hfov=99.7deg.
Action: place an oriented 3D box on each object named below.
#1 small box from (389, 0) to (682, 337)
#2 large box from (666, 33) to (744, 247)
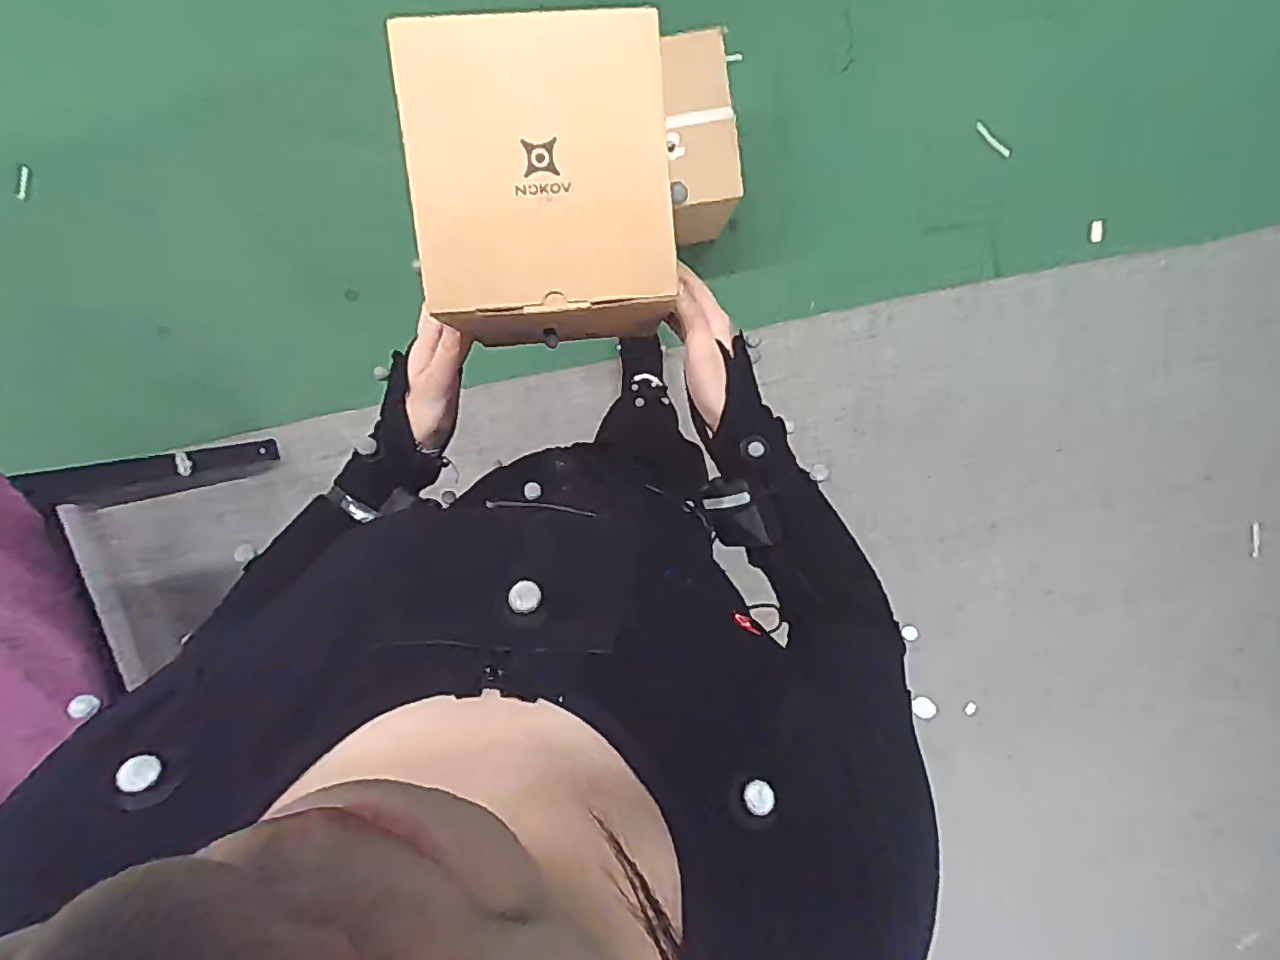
[{"bbox_3d":[-0.068,-0.213,0.411,0.168,0.176,0.179,-6,99,-5],"label":"small box"},{"bbox_3d":[-0.016,-0.703,1.211,0.408,0.320,0.320,-10,99,-1],"label":"large box"}]
